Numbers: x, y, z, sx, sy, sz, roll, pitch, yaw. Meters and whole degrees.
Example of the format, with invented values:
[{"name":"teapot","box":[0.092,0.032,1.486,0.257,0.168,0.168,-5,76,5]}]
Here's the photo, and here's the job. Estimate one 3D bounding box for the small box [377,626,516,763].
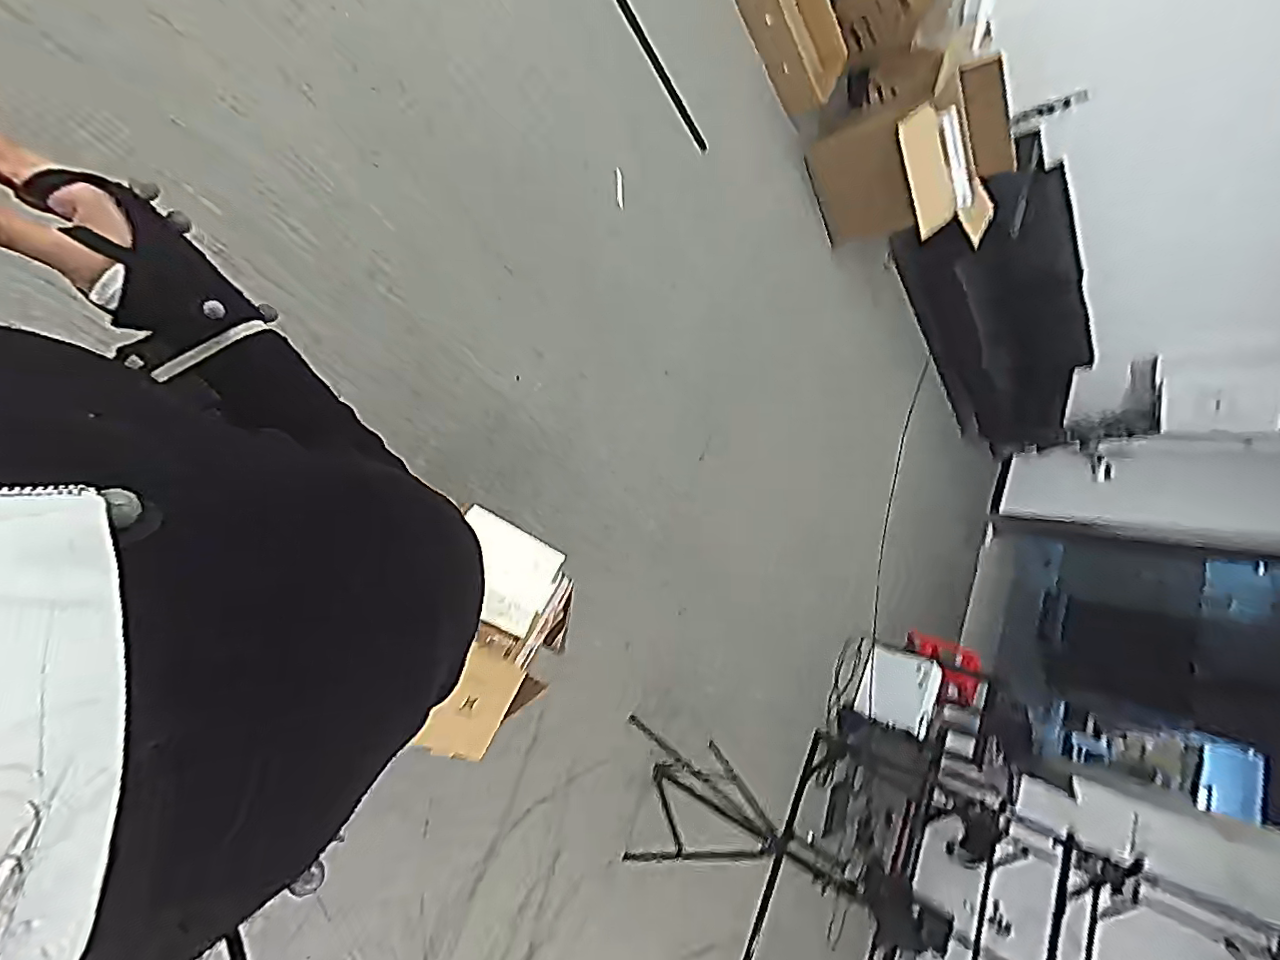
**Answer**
[{"name":"small box","box":[-0.379,0.408,1.044,0.168,0.176,0.179,40,68,-37]}]
